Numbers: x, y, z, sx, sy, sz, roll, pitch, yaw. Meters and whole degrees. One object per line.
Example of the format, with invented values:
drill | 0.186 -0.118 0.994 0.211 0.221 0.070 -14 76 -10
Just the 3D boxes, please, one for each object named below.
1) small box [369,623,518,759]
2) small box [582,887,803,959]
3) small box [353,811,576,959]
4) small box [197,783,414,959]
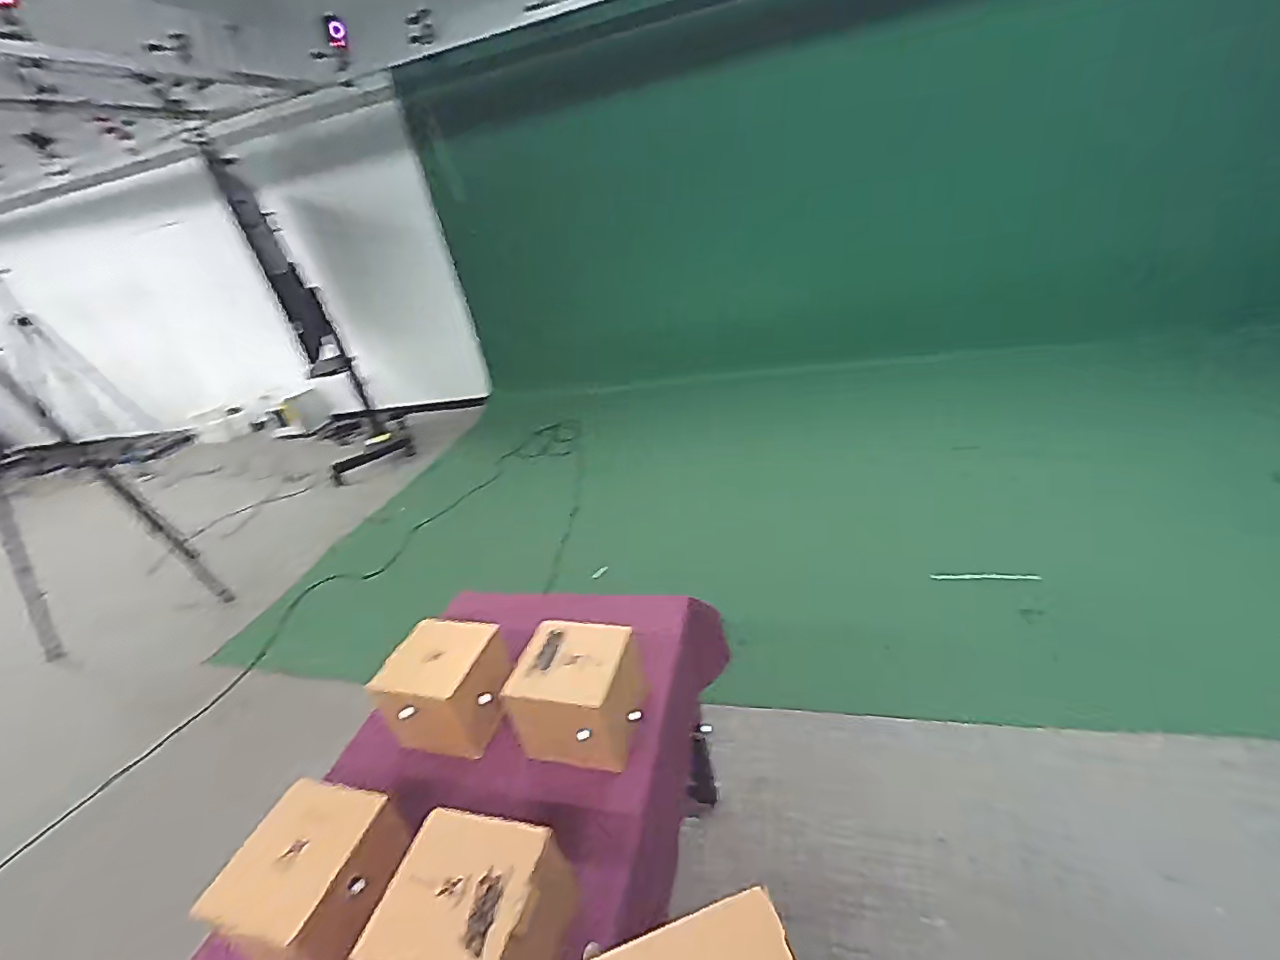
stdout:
small box | -0.356 0.395 1.017 0.179 0.176 0.168 -2 31 20
small box | 0.043 0.411 0.348 0.179 0.176 0.168 -15 39 -8
small box | -0.198 0.550 0.669 0.179 0.176 0.168 -4 30 19
small box | -0.435 0.563 0.747 0.168 0.176 0.179 -1 30 19
